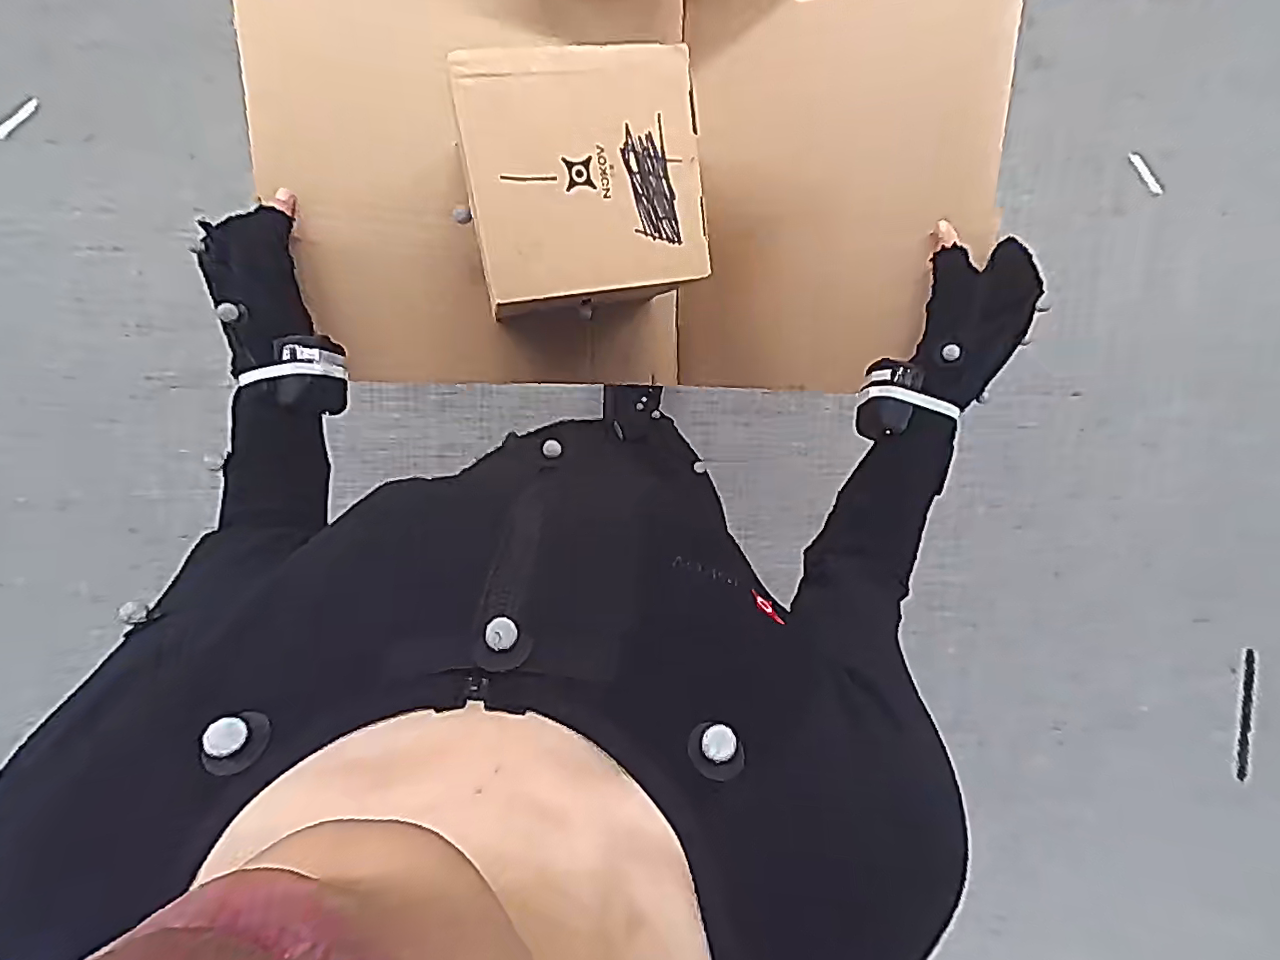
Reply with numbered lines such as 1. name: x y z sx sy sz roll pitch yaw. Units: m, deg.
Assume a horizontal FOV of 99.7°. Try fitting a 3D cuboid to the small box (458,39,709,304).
1. small box: -0.055 -0.256 0.484 0.179 0.176 0.168 -11 105 -12
